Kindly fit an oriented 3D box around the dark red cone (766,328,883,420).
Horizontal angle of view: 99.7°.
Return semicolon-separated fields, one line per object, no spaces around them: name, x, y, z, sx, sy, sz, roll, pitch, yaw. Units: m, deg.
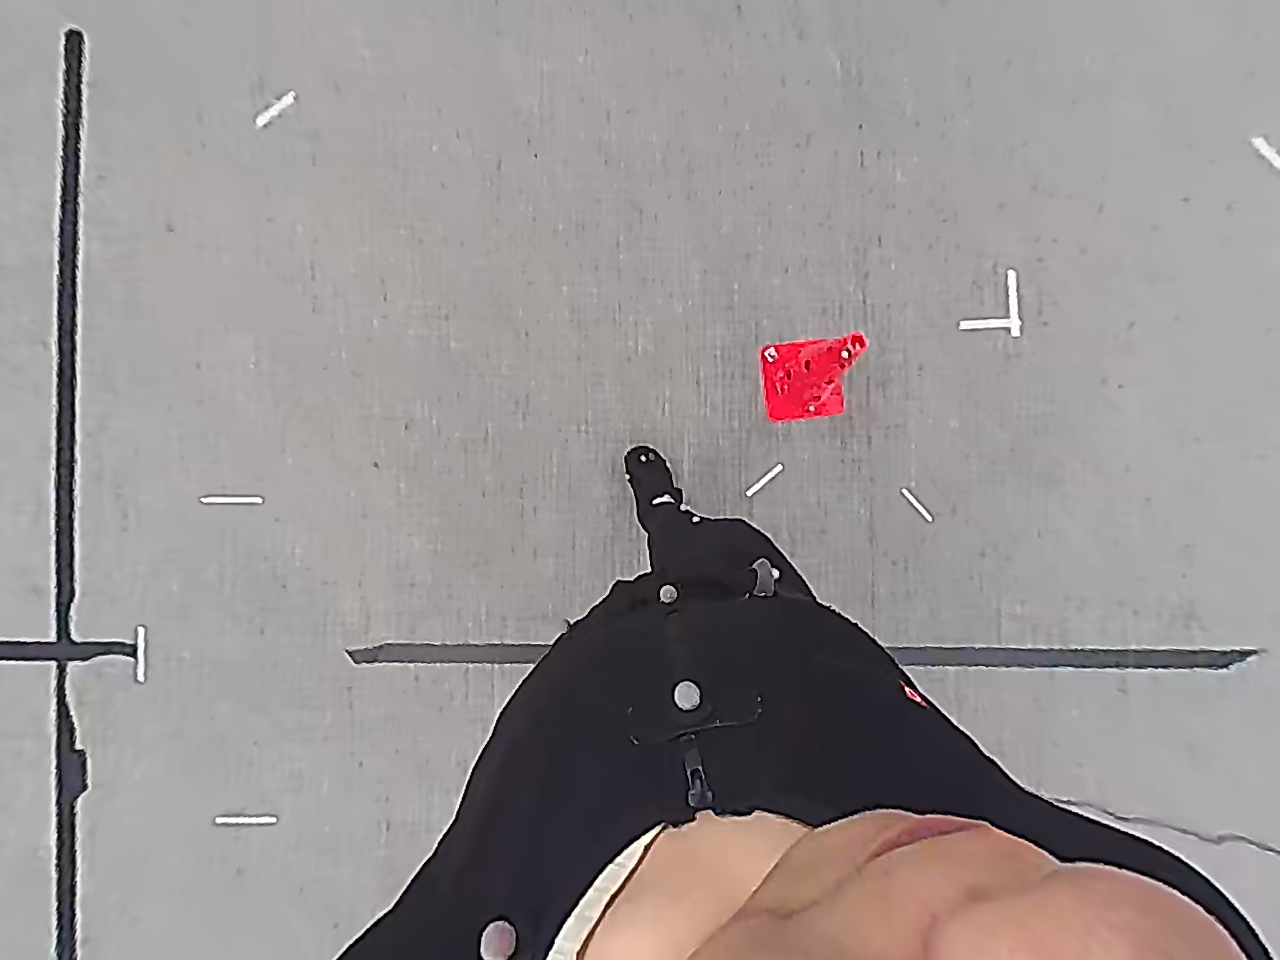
dark red cone;0.418;-0.259;1.179;0.202;0.394;0.201;-8;89;0
